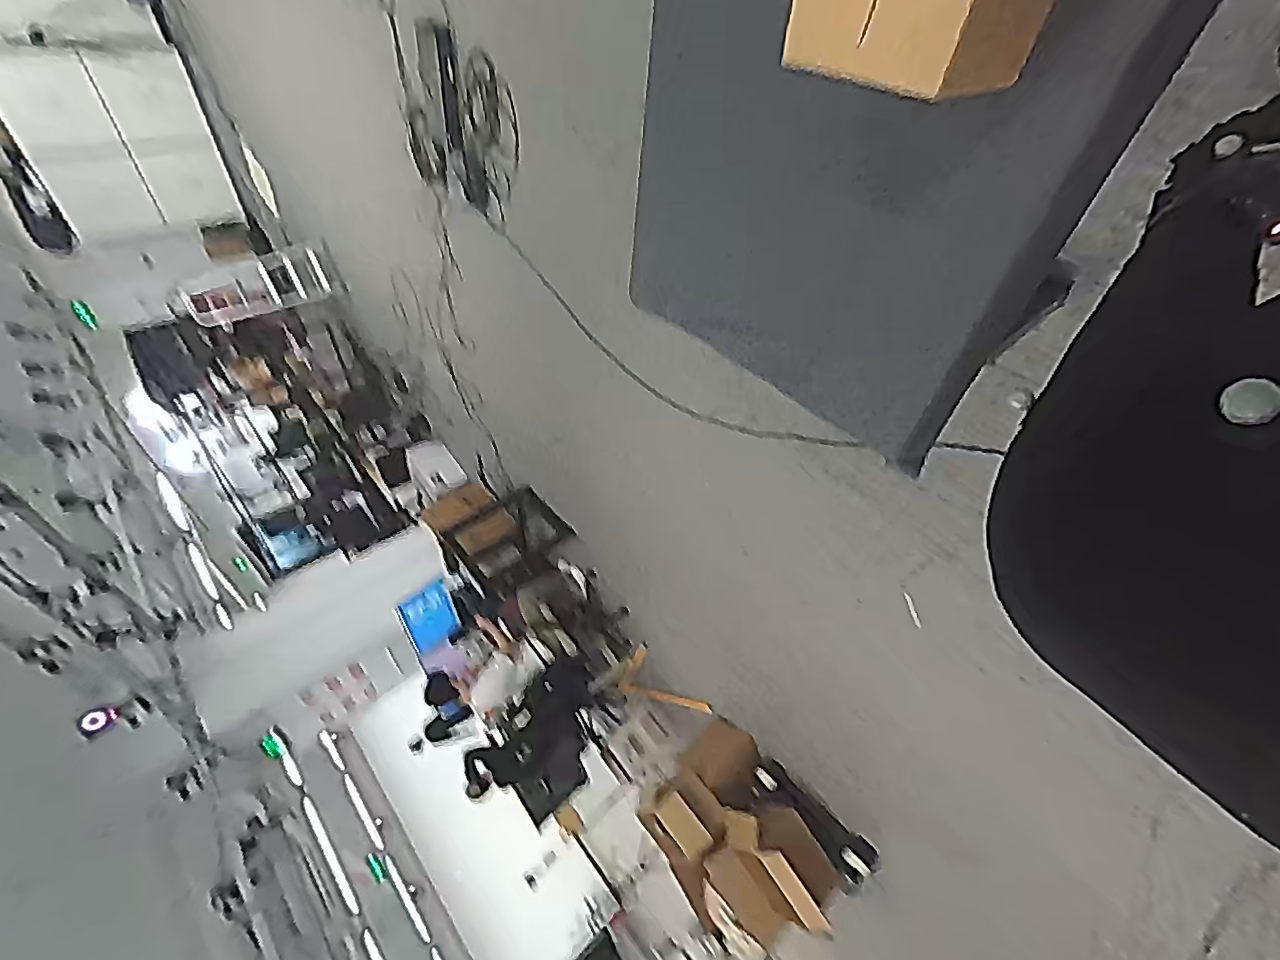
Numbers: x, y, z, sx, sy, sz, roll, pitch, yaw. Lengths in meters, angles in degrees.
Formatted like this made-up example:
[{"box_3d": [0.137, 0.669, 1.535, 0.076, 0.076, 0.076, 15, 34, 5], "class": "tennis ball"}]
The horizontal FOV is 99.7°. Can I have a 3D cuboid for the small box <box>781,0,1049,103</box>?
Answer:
[{"box_3d": [0.257, -0.456, 0.469, 0.168, 0.176, 0.179, 40, 146, 29], "class": "small box"}]
